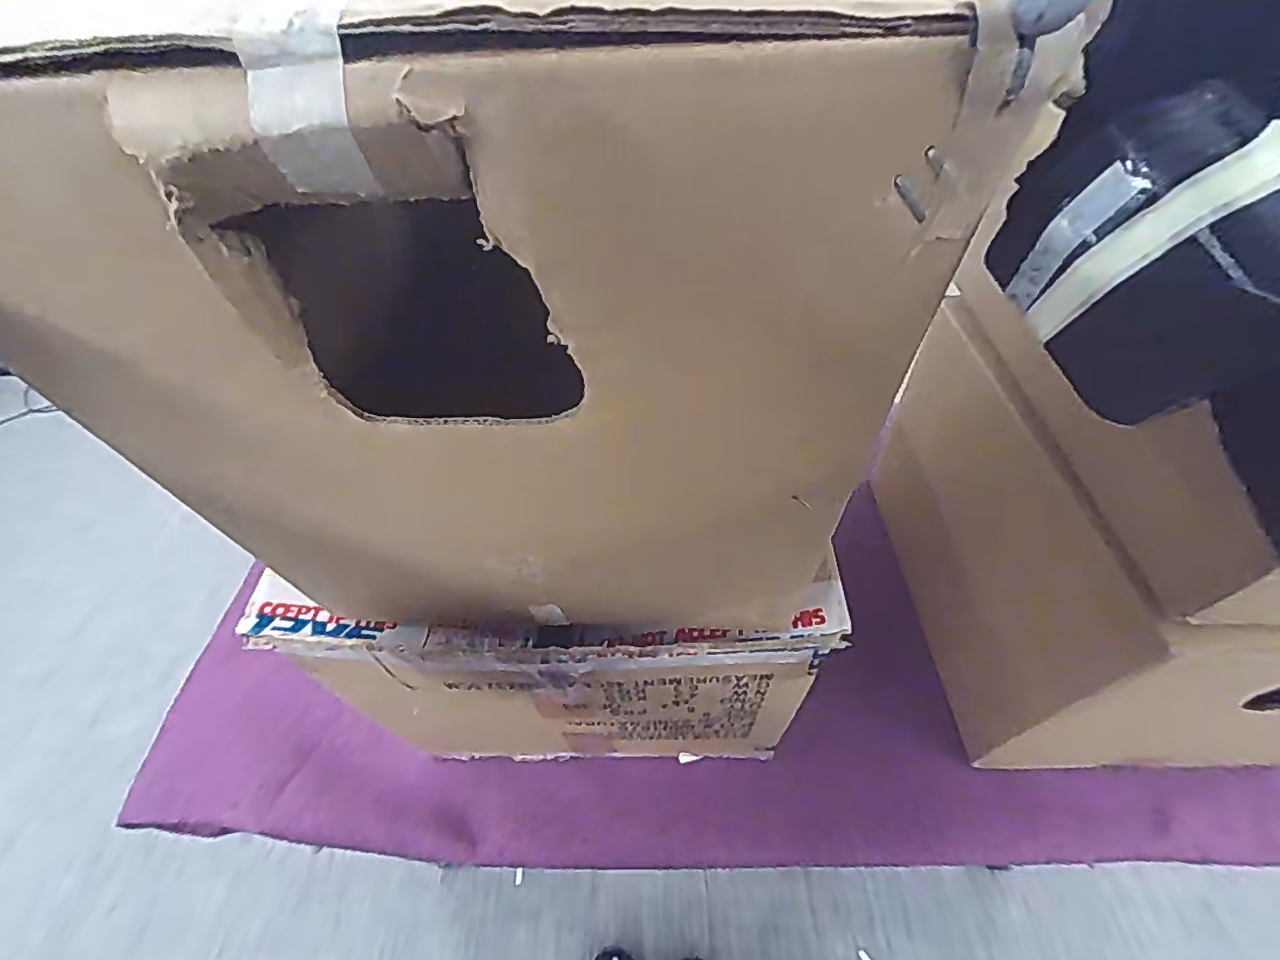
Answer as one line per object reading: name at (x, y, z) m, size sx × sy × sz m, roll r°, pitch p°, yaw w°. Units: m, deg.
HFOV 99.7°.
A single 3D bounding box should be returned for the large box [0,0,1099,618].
large box at (-0.045, -0.157, 0.355) m, size 0.320 × 0.320 × 0.408 m, roll -1°, pitch 54°, yaw 4°
